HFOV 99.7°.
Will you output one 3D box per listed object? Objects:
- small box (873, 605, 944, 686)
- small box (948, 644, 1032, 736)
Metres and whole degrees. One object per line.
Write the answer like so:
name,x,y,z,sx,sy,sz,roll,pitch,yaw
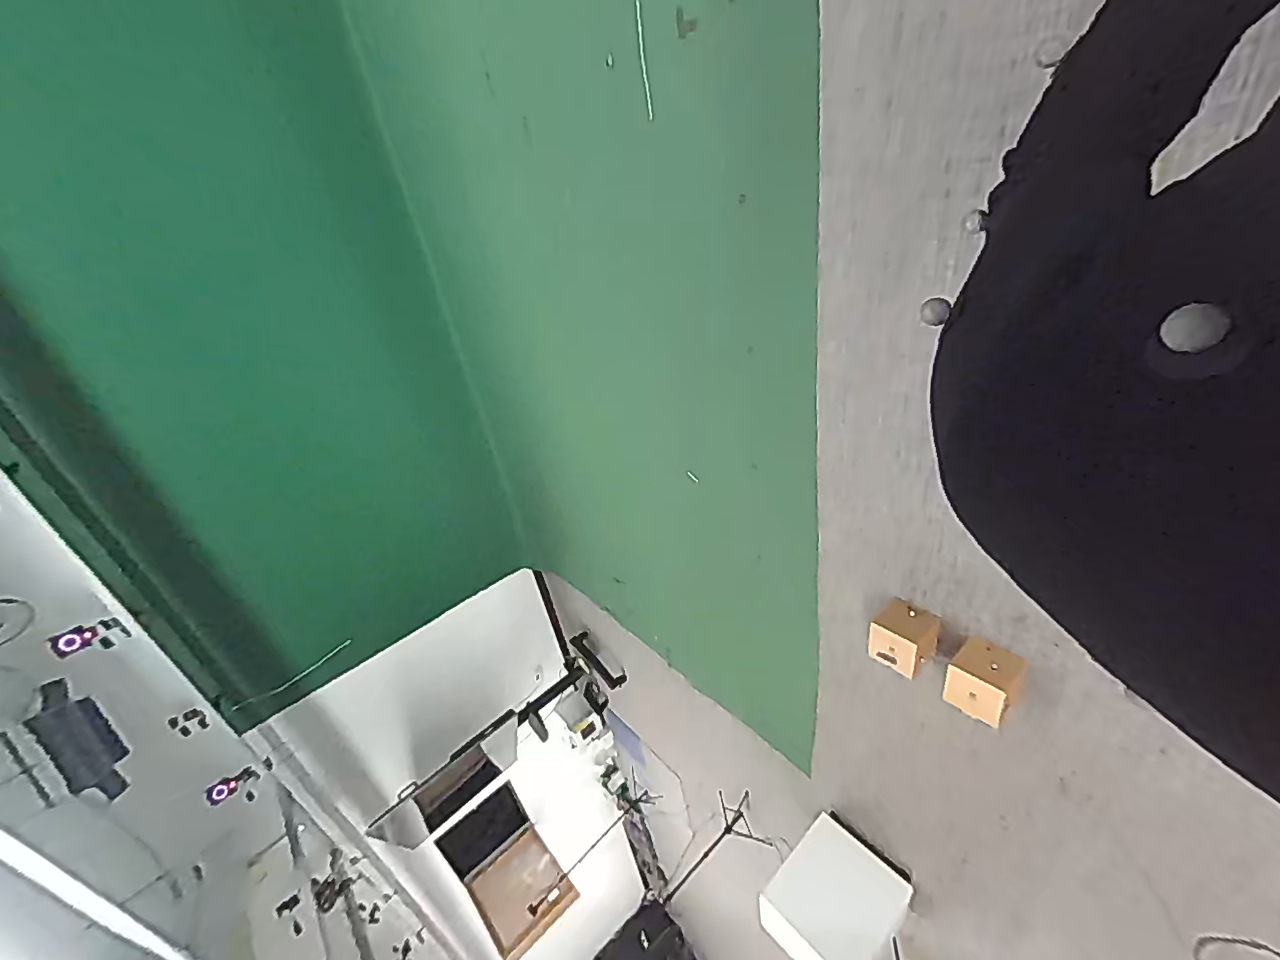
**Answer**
small box,0.946,0.577,1.905,0.168,0.176,0.179,25,134,46
small box,1.115,0.661,1.720,0.168,0.176,0.179,24,135,47
